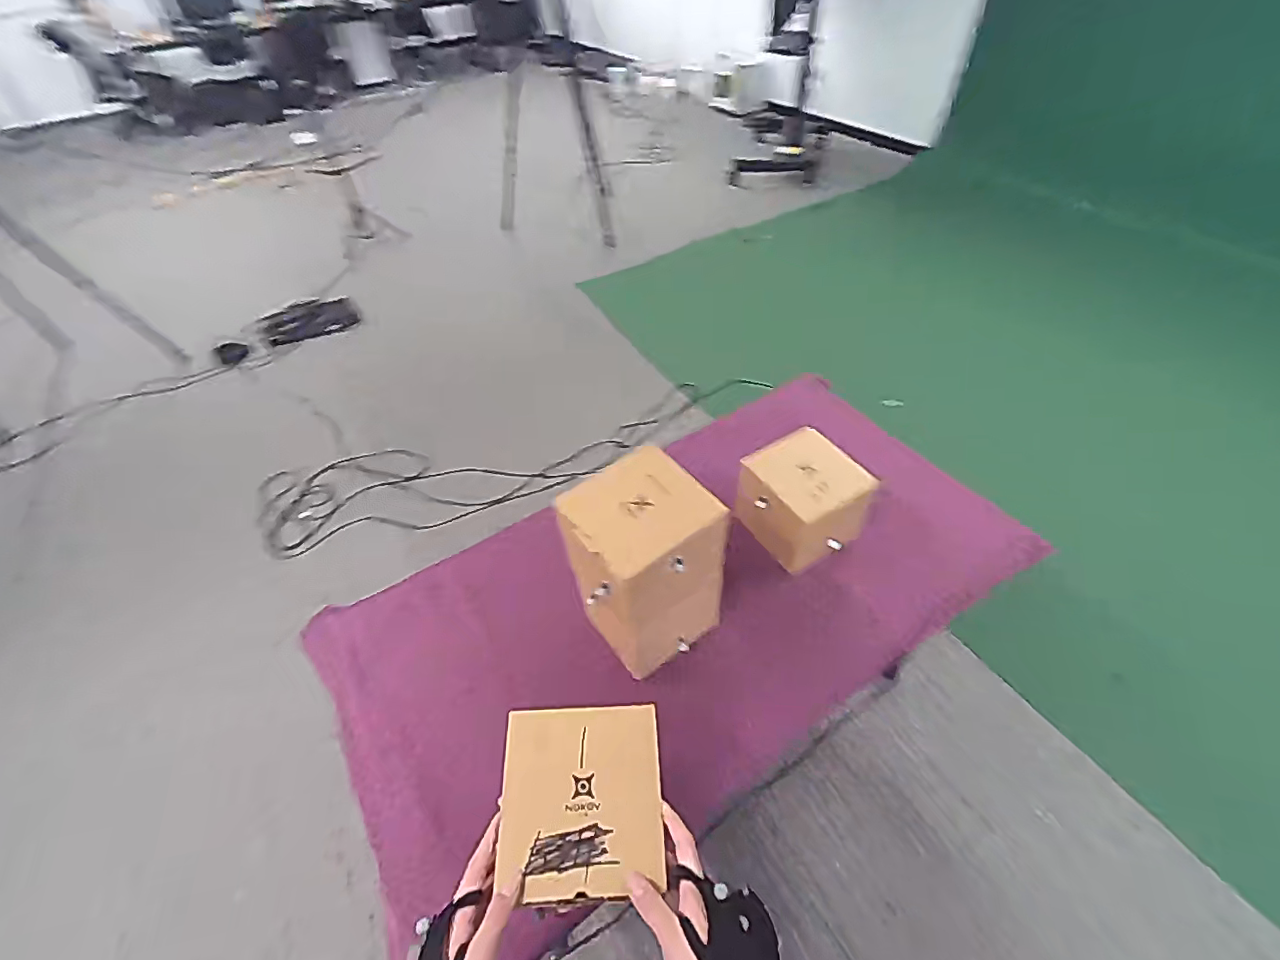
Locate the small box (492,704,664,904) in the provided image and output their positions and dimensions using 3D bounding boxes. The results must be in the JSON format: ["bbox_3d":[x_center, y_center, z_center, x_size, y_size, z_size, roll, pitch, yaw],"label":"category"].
[{"bbox_3d":[-0.062,0.370,0.617,0.168,0.176,0.179,1,52,-3],"label":"small box"}]

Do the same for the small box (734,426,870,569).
[{"bbox_3d":[0.293,0.034,1.025,0.168,0.176,0.179,-26,52,-17],"label":"small box"}]

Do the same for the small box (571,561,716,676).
[{"bbox_3d":[0.006,0.191,0.910,0.179,0.176,0.168,-31,53,-22],"label":"small box"}]

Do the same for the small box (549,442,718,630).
[{"bbox_3d":[-0.005,0.084,0.786,0.179,0.176,0.168,-32,55,-21],"label":"small box"}]
